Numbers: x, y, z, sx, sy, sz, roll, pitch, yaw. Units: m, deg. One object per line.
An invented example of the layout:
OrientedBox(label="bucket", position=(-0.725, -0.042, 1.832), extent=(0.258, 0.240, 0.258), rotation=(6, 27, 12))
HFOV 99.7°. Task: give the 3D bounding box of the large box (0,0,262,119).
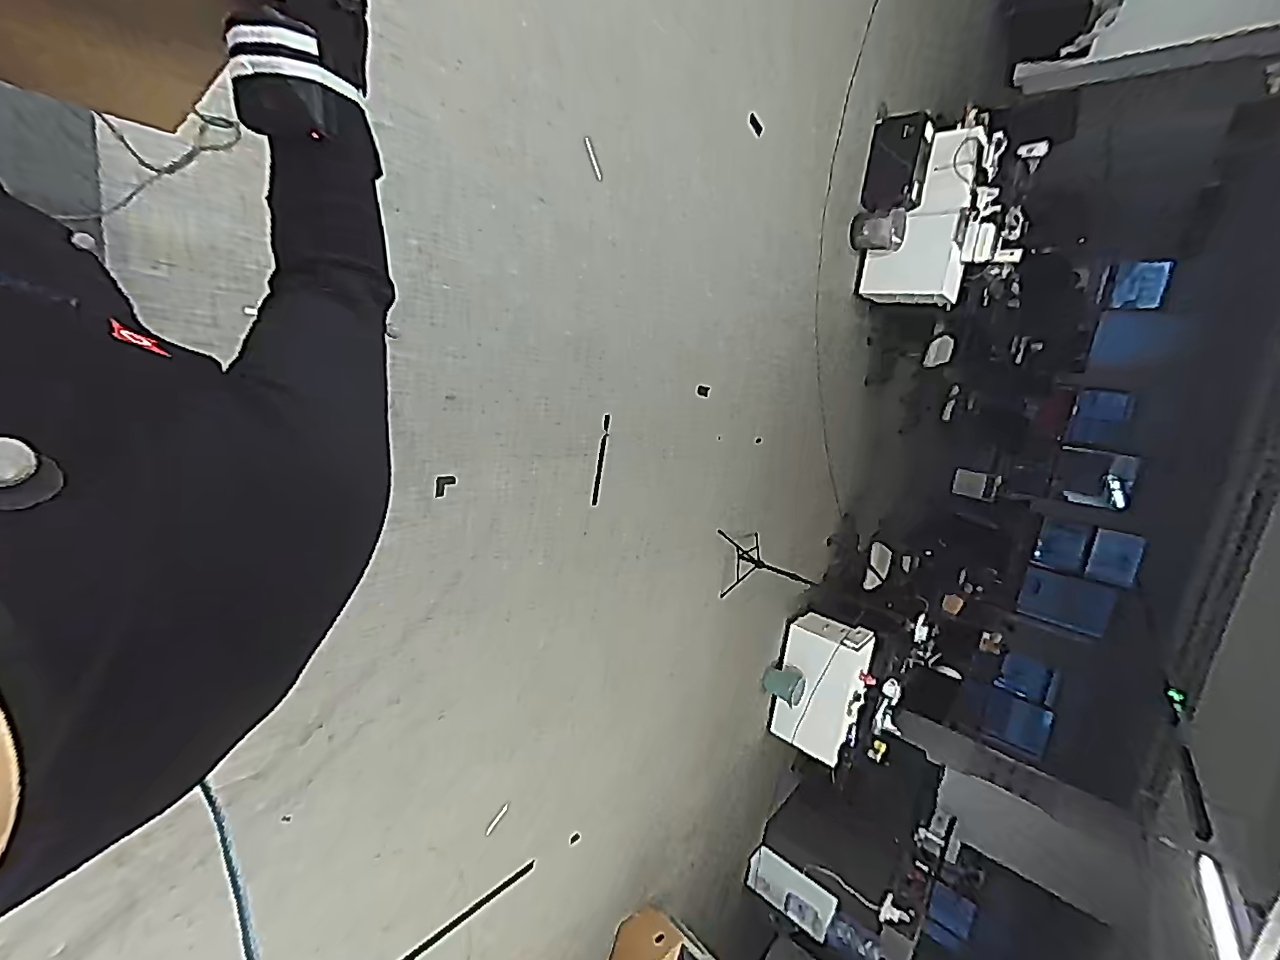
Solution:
OrientedBox(label="large box", position=(-0.473, -0.465, 0.271), extent=(0.408, 0.320, 0.320), rotation=(-8, 104, -50))

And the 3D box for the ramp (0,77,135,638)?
OrientedBox(label="ramp", position=(-1.209, -0.205, 0.893), extent=(0.509, 0.206, 0.991), rotation=(-8, 109, -48))
